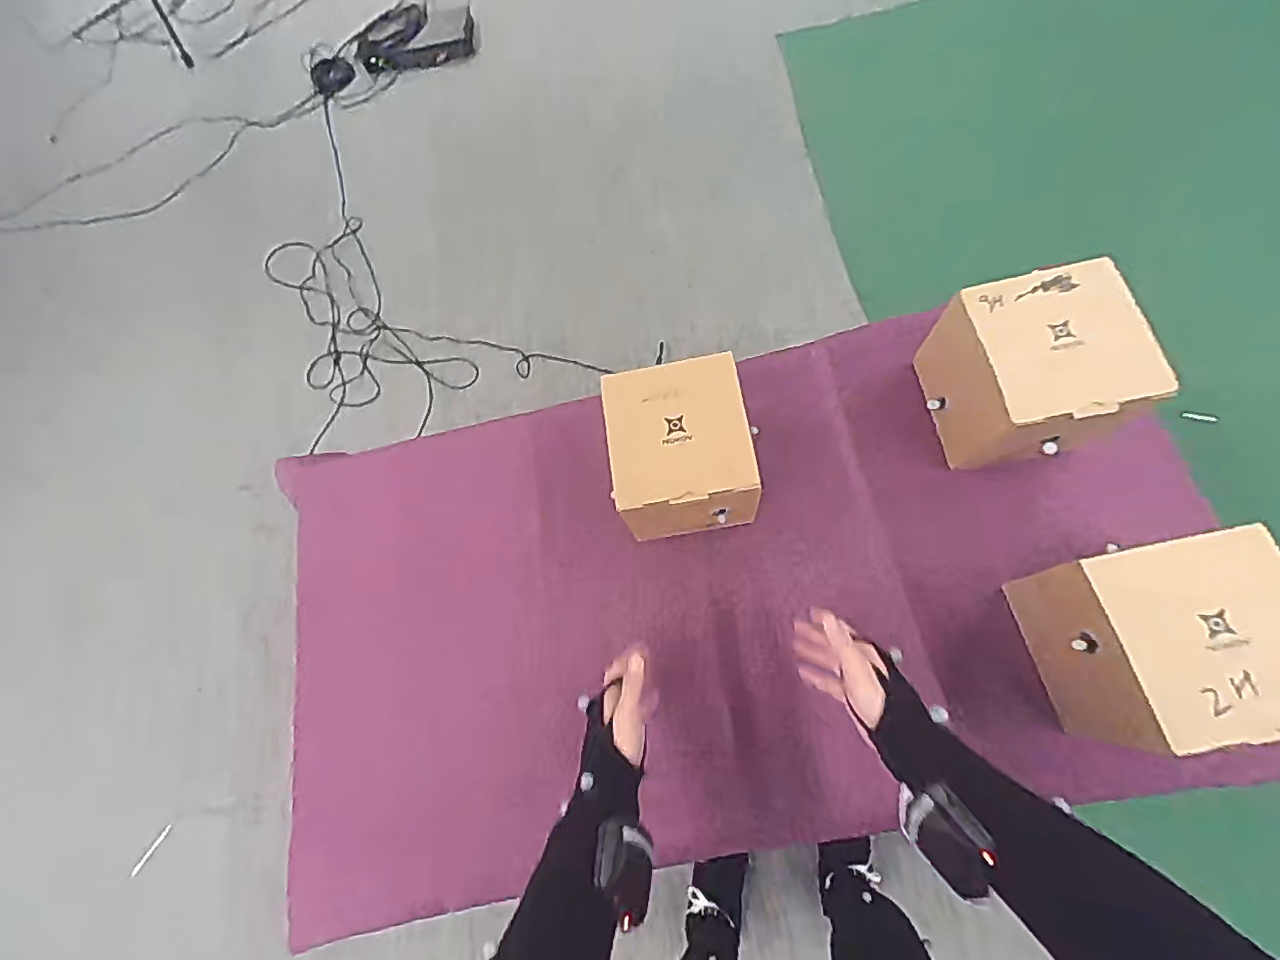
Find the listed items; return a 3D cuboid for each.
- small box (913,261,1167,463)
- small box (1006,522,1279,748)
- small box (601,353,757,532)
[{"bbox_3d":[0.468,-0.130,0.668,0.168,0.176,0.179,-11,73,5],"label":"small box"},{"bbox_3d":[0.525,0.161,0.560,0.168,0.176,0.179,-13,70,6],"label":"small box"},{"bbox_3d":[0.053,-0.035,0.705,0.168,0.176,0.179,-9,71,5],"label":"small box"}]
